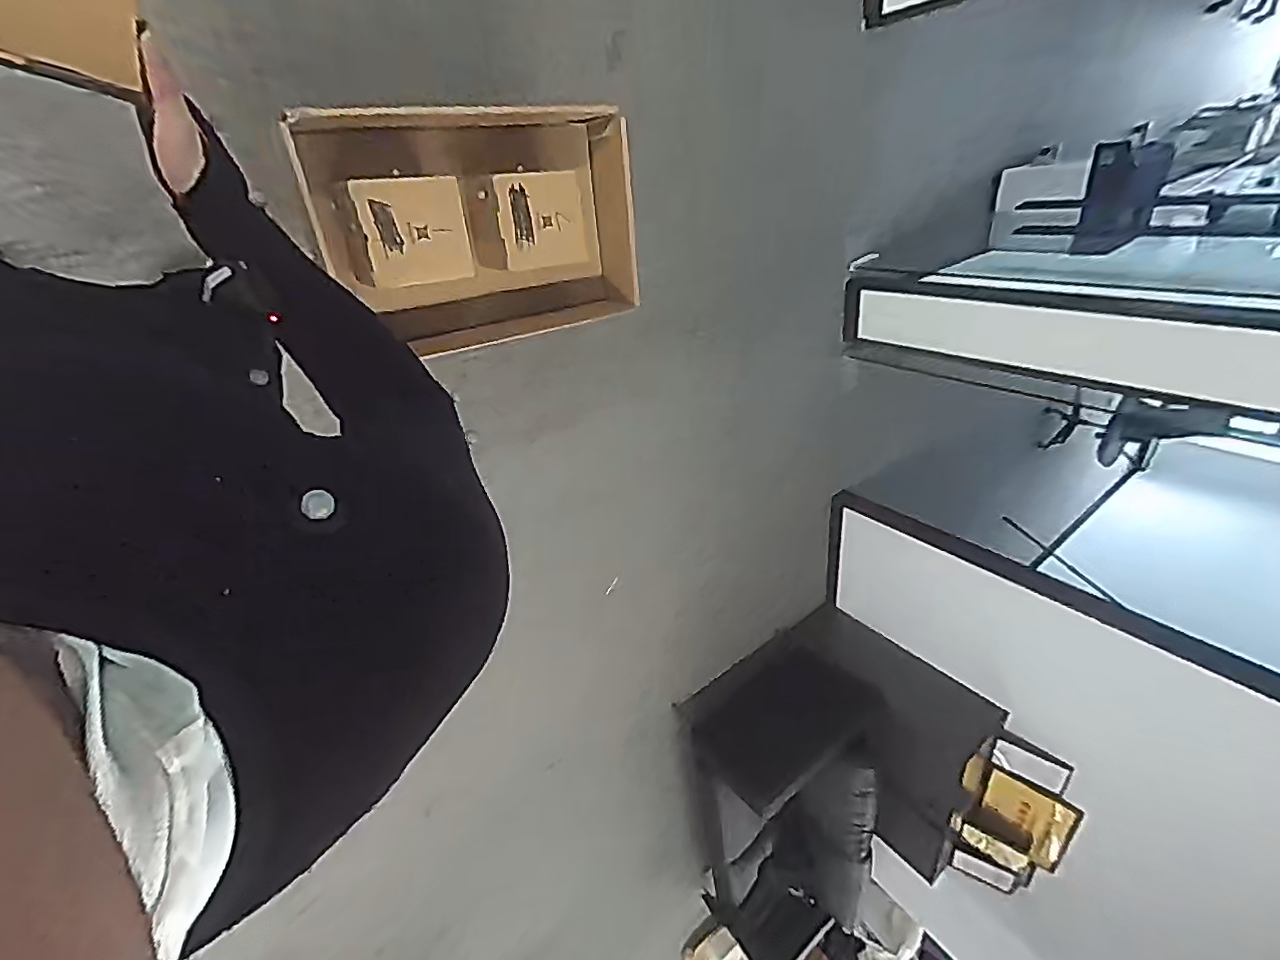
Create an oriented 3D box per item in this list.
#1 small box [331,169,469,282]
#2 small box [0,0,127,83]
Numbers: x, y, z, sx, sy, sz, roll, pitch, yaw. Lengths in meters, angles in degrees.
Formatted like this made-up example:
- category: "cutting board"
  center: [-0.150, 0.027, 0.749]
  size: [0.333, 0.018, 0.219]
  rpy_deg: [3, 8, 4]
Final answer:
- category: "small box"
  center: [-0.432, -0.456, 0.968]
  size: [0.179, 0.176, 0.168]
  rpy_deg: [-22, 124, -30]
- category: "small box"
  center: [-0.469, -0.400, 0.363]
  size: [0.168, 0.176, 0.179]
  rpy_deg: [-6, 122, -42]
